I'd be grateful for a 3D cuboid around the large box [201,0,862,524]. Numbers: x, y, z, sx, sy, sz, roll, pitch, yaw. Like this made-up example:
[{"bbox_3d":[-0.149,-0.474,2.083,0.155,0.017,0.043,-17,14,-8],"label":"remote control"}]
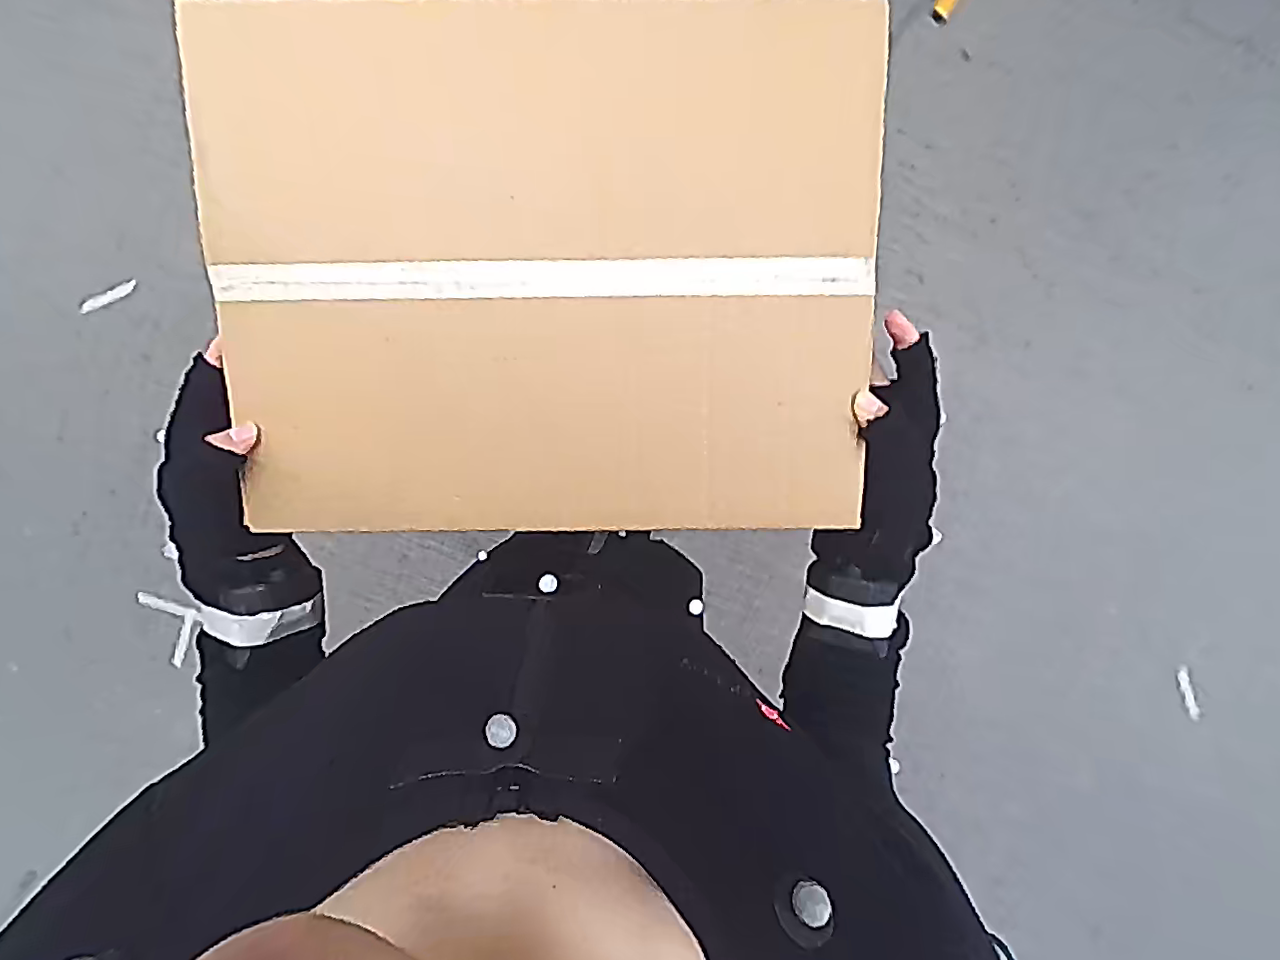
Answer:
[{"bbox_3d":[-0.063,-0.152,0.492,0.408,0.320,0.320,-2,100,0],"label":"large box"}]
